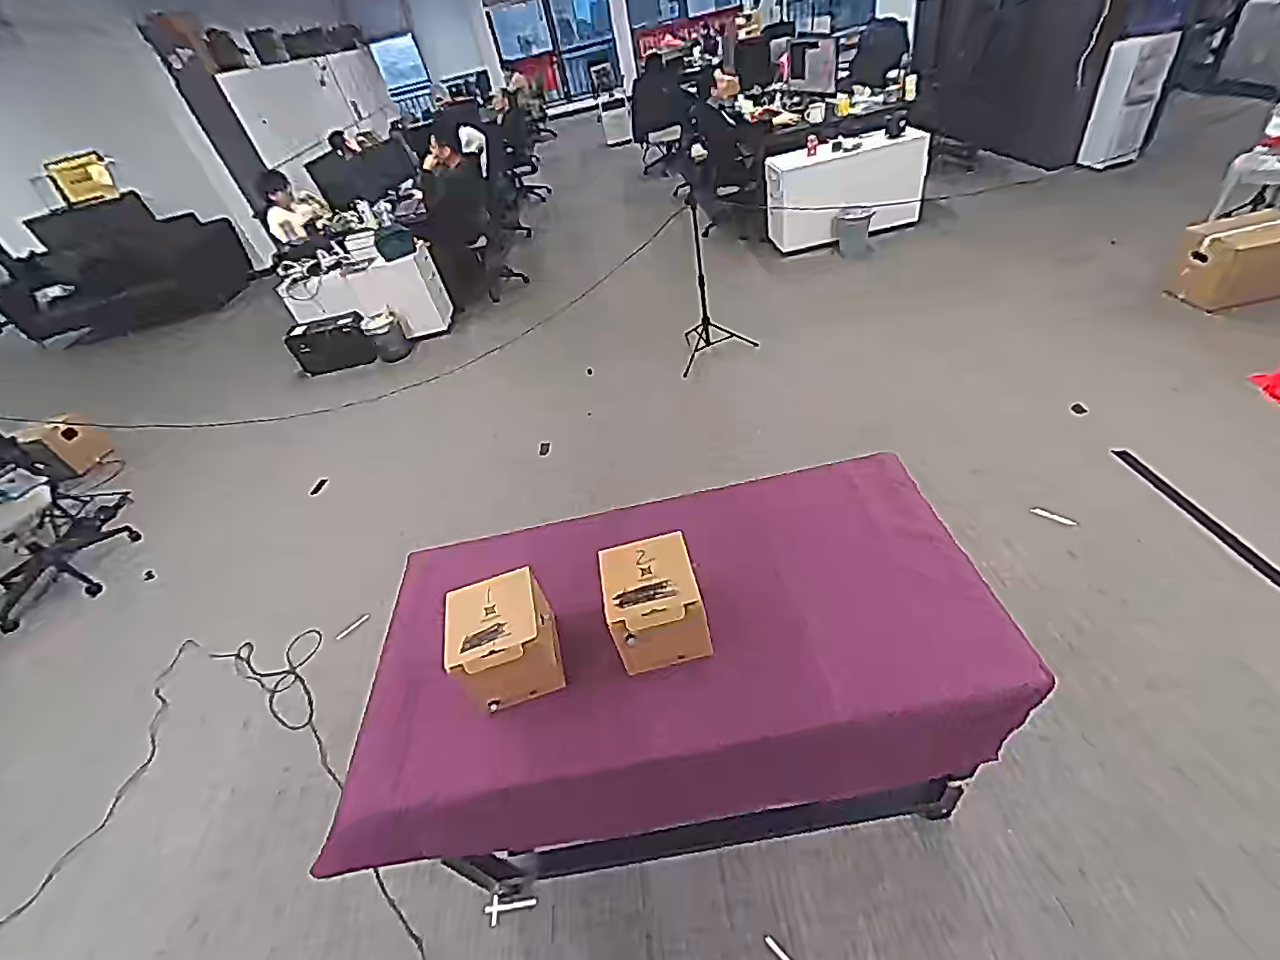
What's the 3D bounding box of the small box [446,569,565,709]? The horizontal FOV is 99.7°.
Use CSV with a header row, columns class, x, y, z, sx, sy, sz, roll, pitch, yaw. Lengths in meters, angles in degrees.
class,x,y,z,sx,sy,sz,roll,pitch,yaw
small box,-0.250,0.305,1.018,0.168,0.176,0.179,-18,40,-5
